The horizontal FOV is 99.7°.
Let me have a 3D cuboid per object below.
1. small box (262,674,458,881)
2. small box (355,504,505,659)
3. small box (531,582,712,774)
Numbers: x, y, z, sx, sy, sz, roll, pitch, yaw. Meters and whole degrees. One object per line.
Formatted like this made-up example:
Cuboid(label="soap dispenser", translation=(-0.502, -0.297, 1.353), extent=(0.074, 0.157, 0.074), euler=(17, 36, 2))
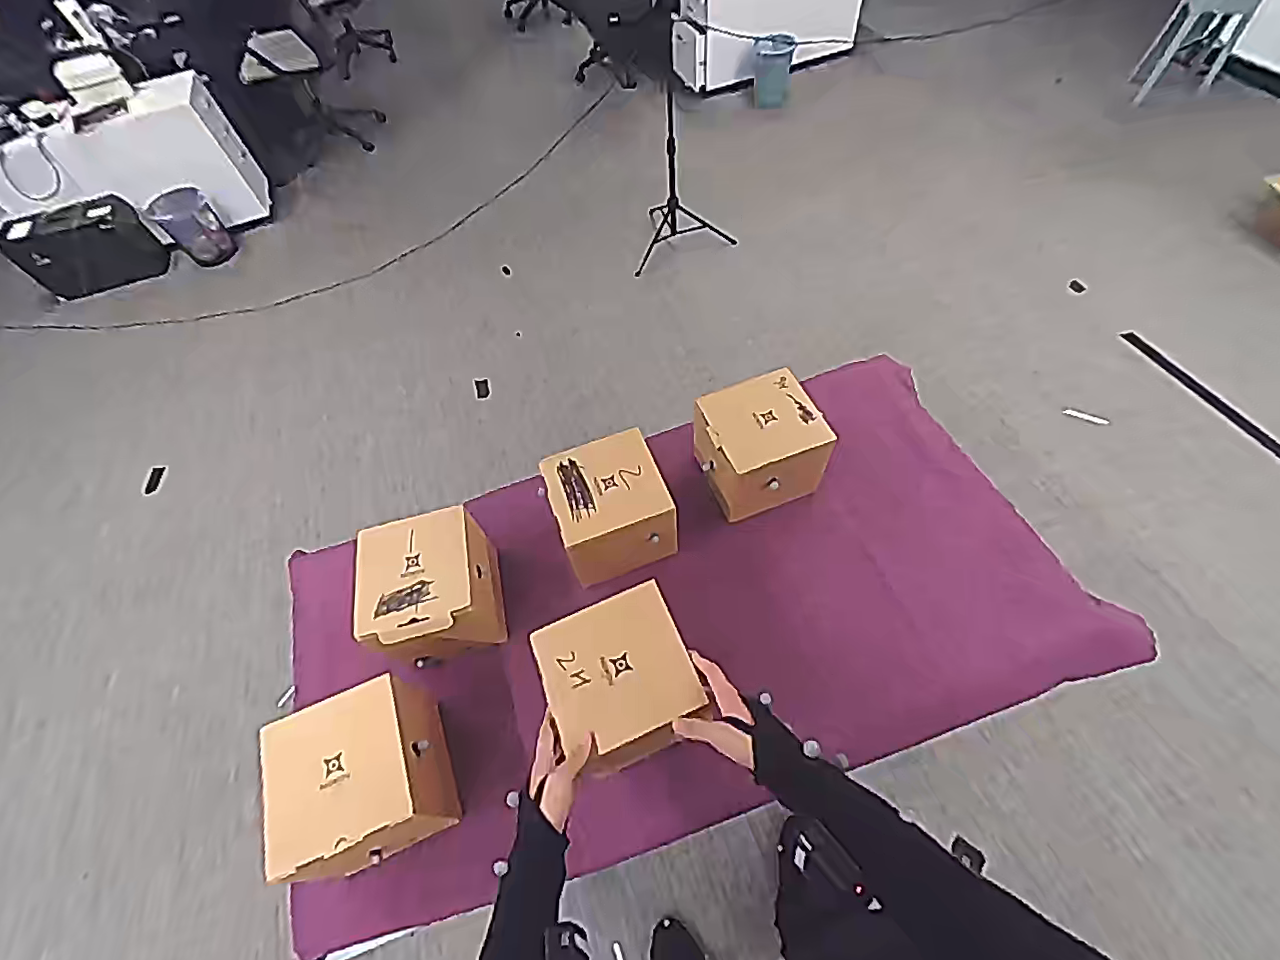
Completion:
Cuboid(label="small box", translation=(-0.360, 0.389, 0.712), extent=(0.168, 0.176, 0.179), euler=(-22, 59, -10))
Cuboid(label="small box", translation=(-0.321, 0.168, 0.848), extent=(0.168, 0.176, 0.179), euler=(-15, 58, -4))
Cuboid(label="small box", translation=(-0.018, 0.263, 0.707), extent=(0.179, 0.176, 0.168), euler=(-23, 58, -5))
